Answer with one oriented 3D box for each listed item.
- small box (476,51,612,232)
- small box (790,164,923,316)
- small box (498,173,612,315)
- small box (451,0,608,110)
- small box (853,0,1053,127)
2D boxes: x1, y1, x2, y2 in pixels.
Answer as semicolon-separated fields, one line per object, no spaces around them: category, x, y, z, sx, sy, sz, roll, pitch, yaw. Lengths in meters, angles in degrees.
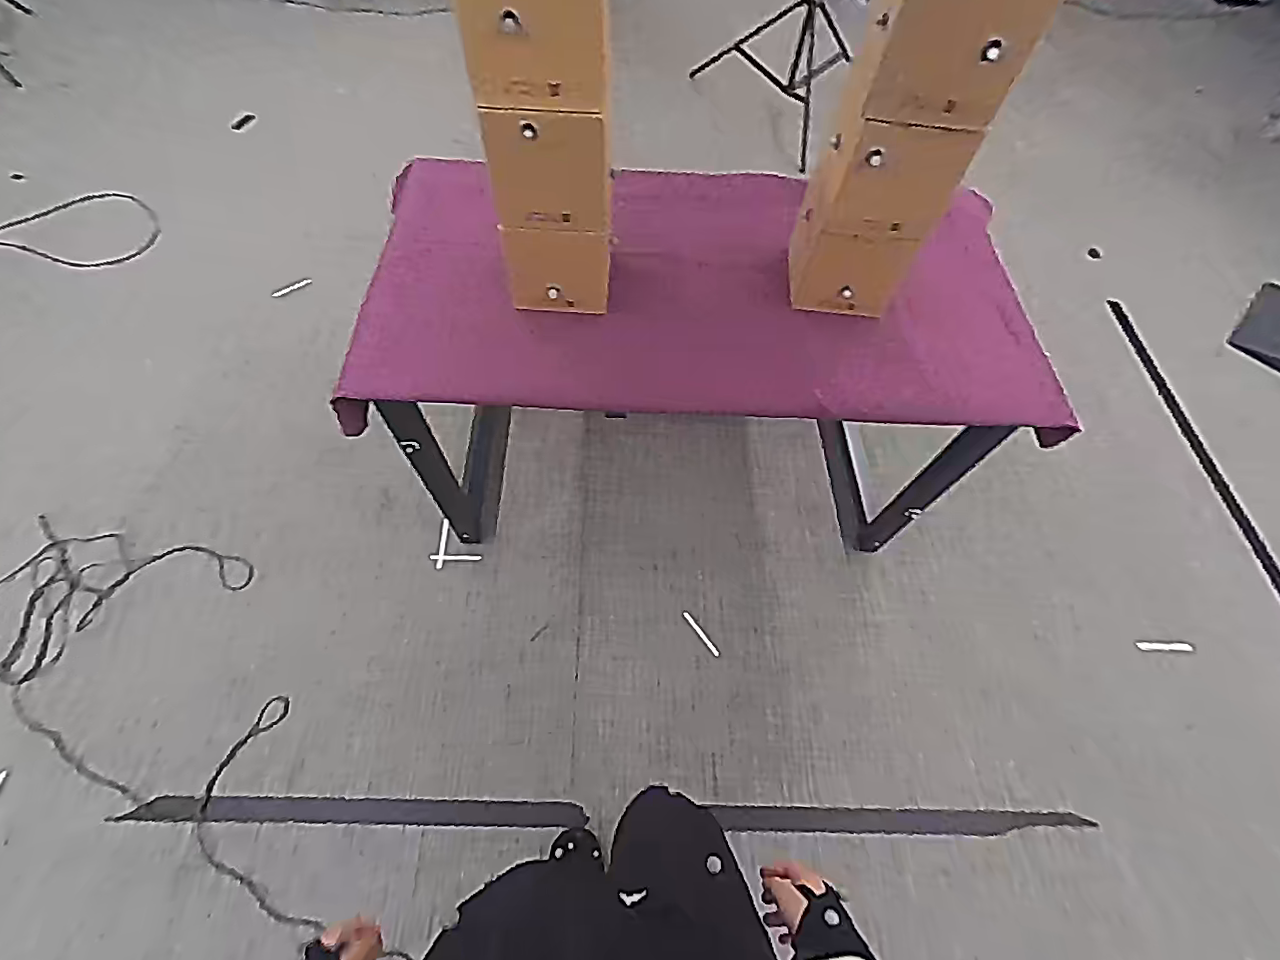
small box;-0.127;-0.493;0.787;0.168;0.176;0.179;2;61;-2
small box;0.370;-0.422;0.961;0.168;0.176;0.179;6;61;1
small box;-0.136;-0.412;0.929;0.168;0.176;0.179;3;62;-1
small box;-0.123;-0.573;0.644;0.168;0.176;0.179;1;61;-2
small box;0.380;-0.573;0.671;0.168;0.176;0.179;8;60;1
